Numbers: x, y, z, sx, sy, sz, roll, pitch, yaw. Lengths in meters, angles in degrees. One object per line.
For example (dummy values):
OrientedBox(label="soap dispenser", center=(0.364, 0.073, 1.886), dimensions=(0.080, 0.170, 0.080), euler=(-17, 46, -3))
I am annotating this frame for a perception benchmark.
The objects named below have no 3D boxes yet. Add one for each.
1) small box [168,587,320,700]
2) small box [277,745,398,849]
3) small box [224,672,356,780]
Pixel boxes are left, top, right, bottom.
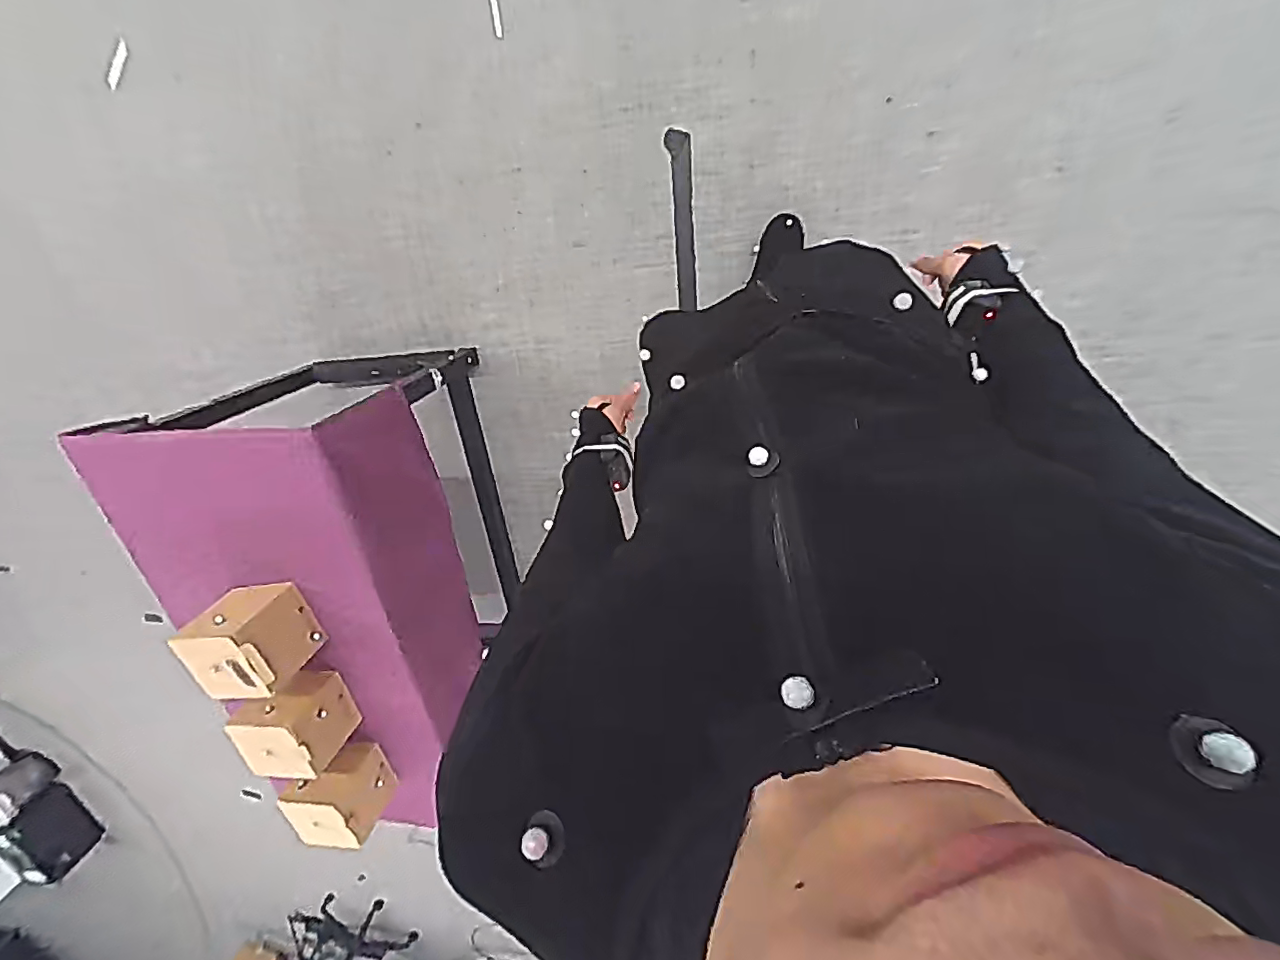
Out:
OrientedBox(label="small box", center=(-0.831, 0.347, 1.162), dimensions=(0.179, 0.176, 0.168), euler=(-9, 114, 15))
OrientedBox(label="small box", center=(-0.758, 0.797, 1.373), dimensions=(0.179, 0.176, 0.168), euler=(-5, 116, 13))
OrientedBox(label="small box", center=(-0.806, 0.573, 1.273), dimensions=(0.179, 0.176, 0.168), euler=(-4, 115, 13))
